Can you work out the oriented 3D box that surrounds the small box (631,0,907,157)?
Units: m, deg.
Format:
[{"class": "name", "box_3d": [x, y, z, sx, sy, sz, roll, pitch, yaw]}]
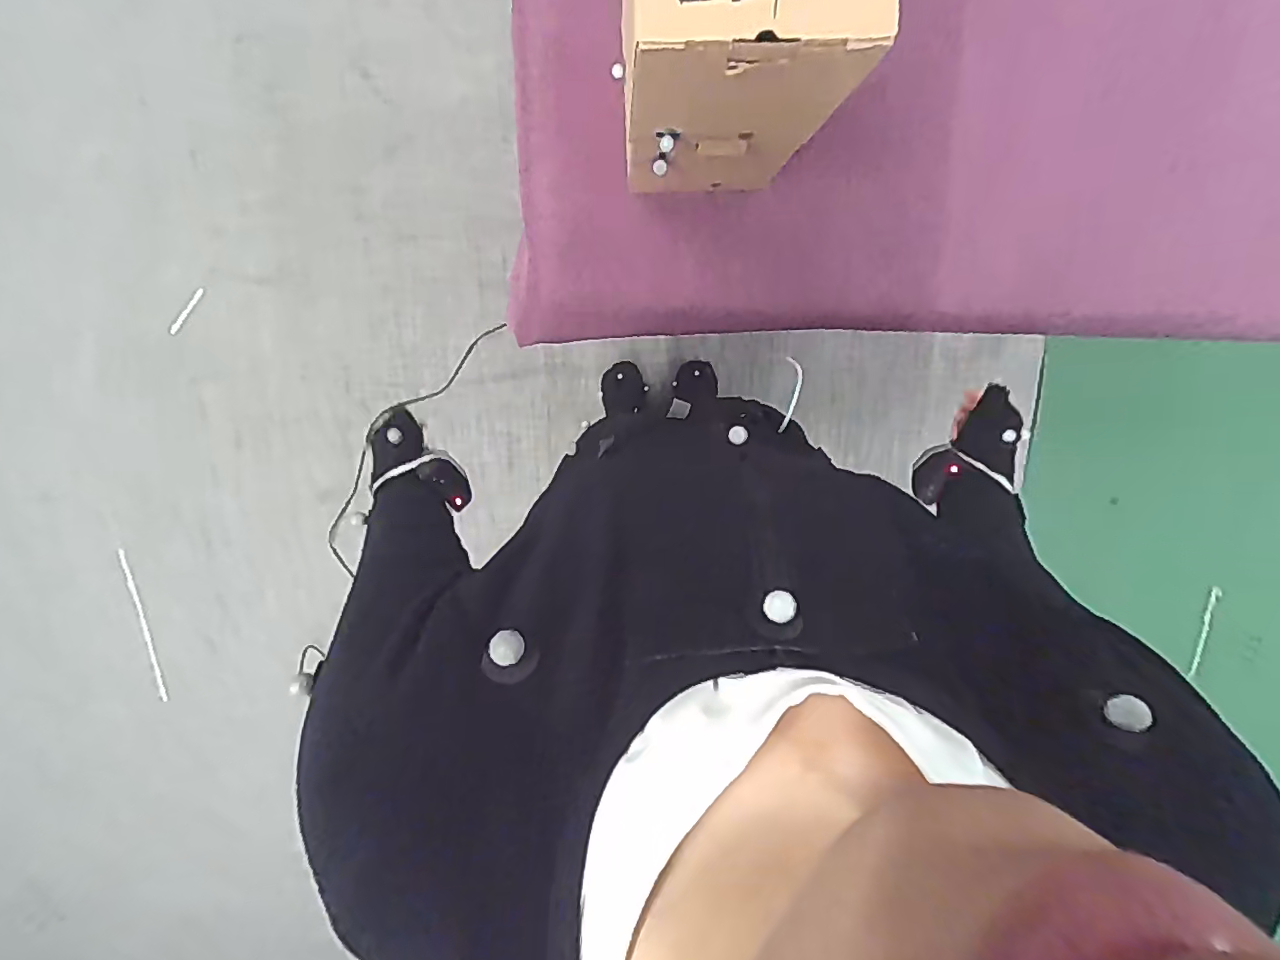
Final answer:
[{"class": "small box", "box_3d": [0.082, -0.361, 0.396, 0.168, 0.176, 0.179, 2, 103, -5]}]
